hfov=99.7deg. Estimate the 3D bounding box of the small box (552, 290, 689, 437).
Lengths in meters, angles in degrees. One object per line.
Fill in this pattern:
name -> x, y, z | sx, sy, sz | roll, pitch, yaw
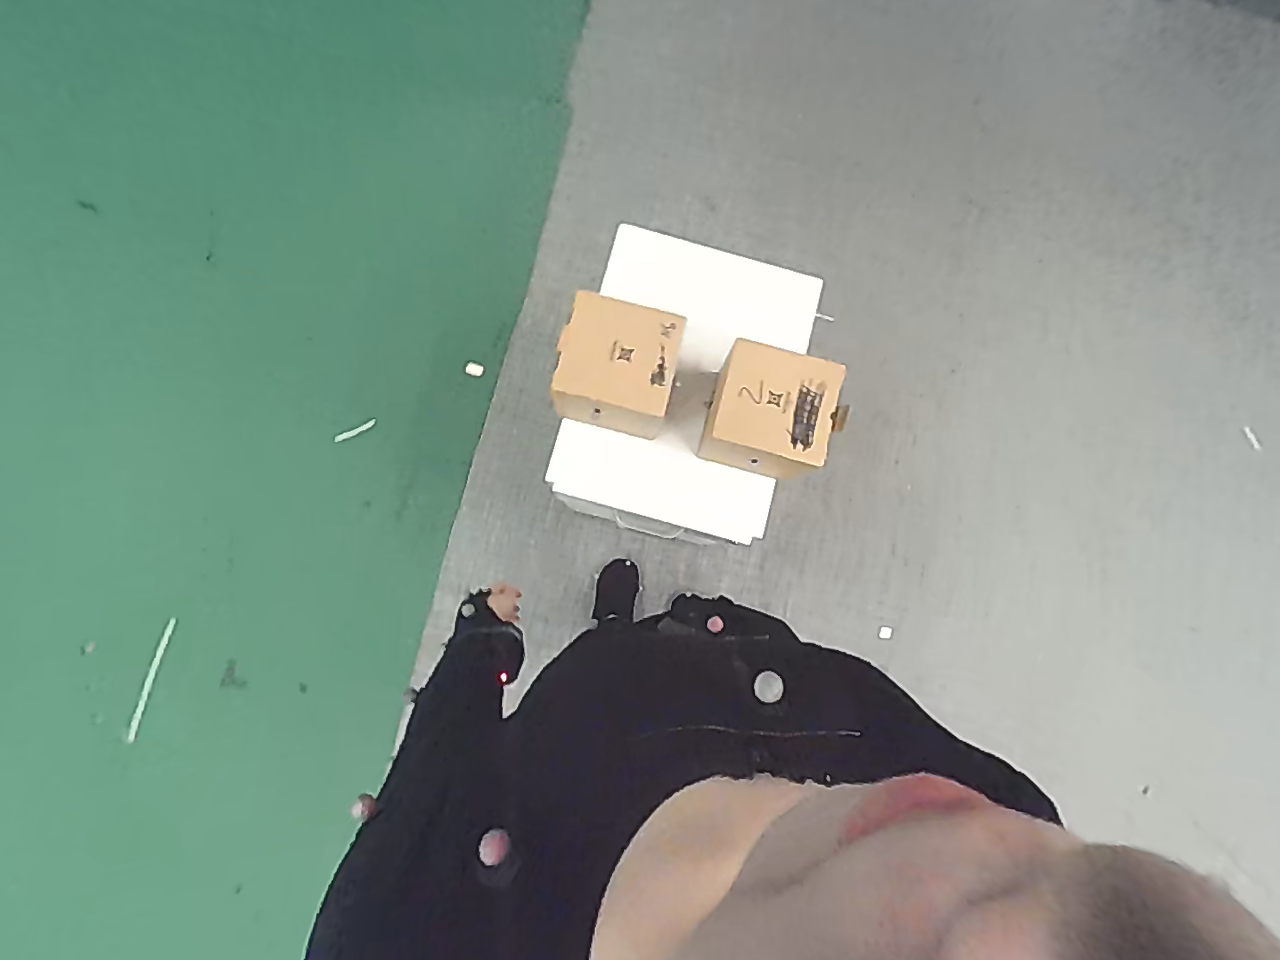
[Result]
small box -> -0.032, -0.180, 0.889 | 0.179, 0.176, 0.168 | 14, 82, -2
